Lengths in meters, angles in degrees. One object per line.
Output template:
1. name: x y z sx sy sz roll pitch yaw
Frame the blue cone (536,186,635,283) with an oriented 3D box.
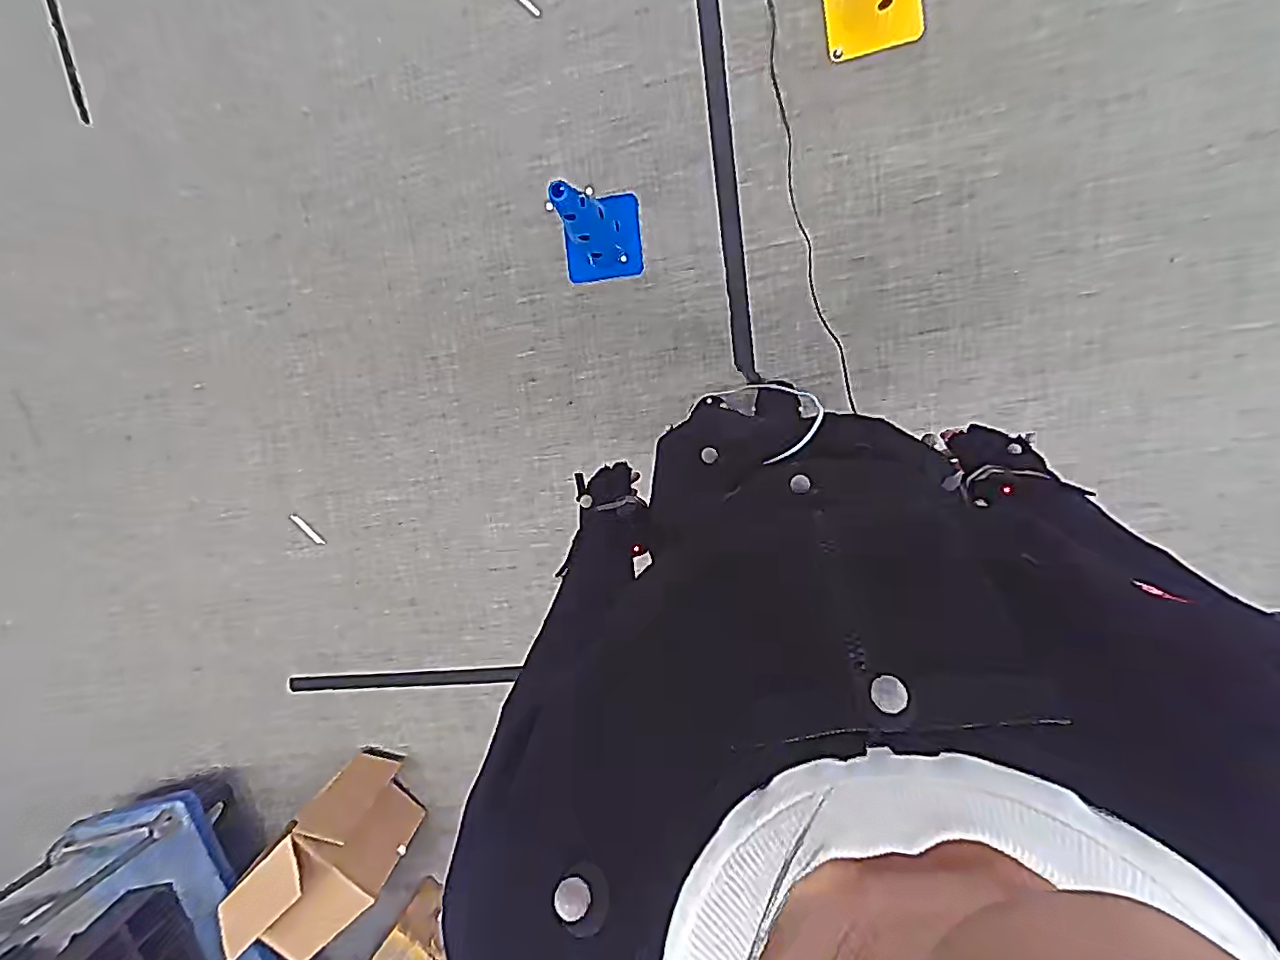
1. blue cone: -0.140 -0.588 1.232 0.192 0.380 0.193 -2 99 12
